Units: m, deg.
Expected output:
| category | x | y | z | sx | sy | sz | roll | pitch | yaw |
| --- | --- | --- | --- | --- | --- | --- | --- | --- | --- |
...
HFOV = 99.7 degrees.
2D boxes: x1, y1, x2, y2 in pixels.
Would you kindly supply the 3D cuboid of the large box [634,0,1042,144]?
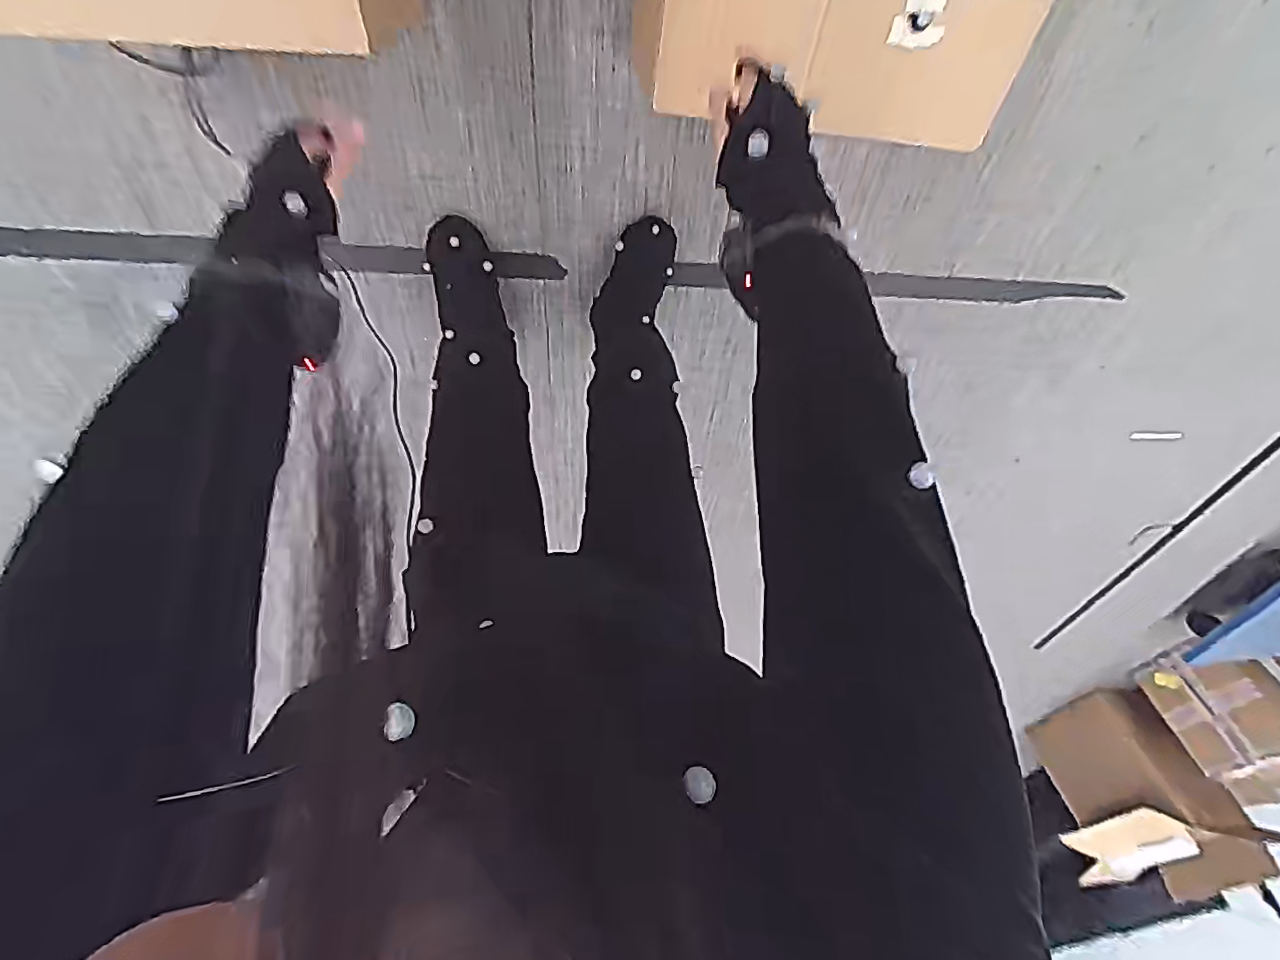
| category | x | y | z | sx | sy | sz | roll | pitch | yaw |
| --- | --- | --- | --- | --- | --- | --- | --- | --- | --- |
| large box | 0.216 | -0.628 | 0.640 | 0.408 | 0.320 | 0.320 | 1 | 134 | -10 |
